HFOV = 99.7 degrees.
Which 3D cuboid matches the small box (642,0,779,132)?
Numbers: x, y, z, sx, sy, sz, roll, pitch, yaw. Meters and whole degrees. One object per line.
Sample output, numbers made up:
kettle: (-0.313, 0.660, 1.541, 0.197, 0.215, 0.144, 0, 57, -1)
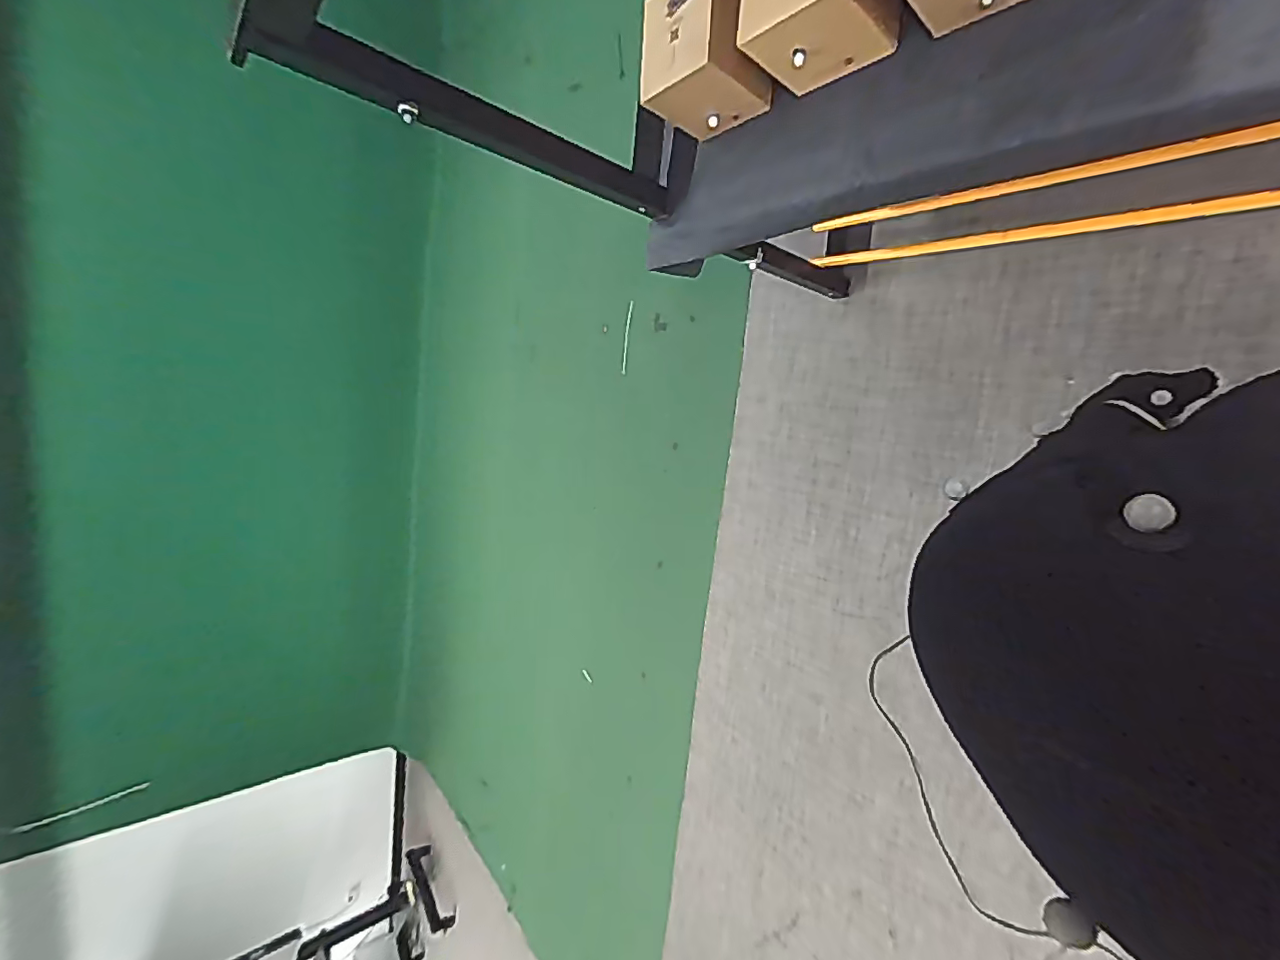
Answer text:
small box: (0.124, -0.754, 0.943, 0.168, 0.176, 0.179, 10, 99, 49)
